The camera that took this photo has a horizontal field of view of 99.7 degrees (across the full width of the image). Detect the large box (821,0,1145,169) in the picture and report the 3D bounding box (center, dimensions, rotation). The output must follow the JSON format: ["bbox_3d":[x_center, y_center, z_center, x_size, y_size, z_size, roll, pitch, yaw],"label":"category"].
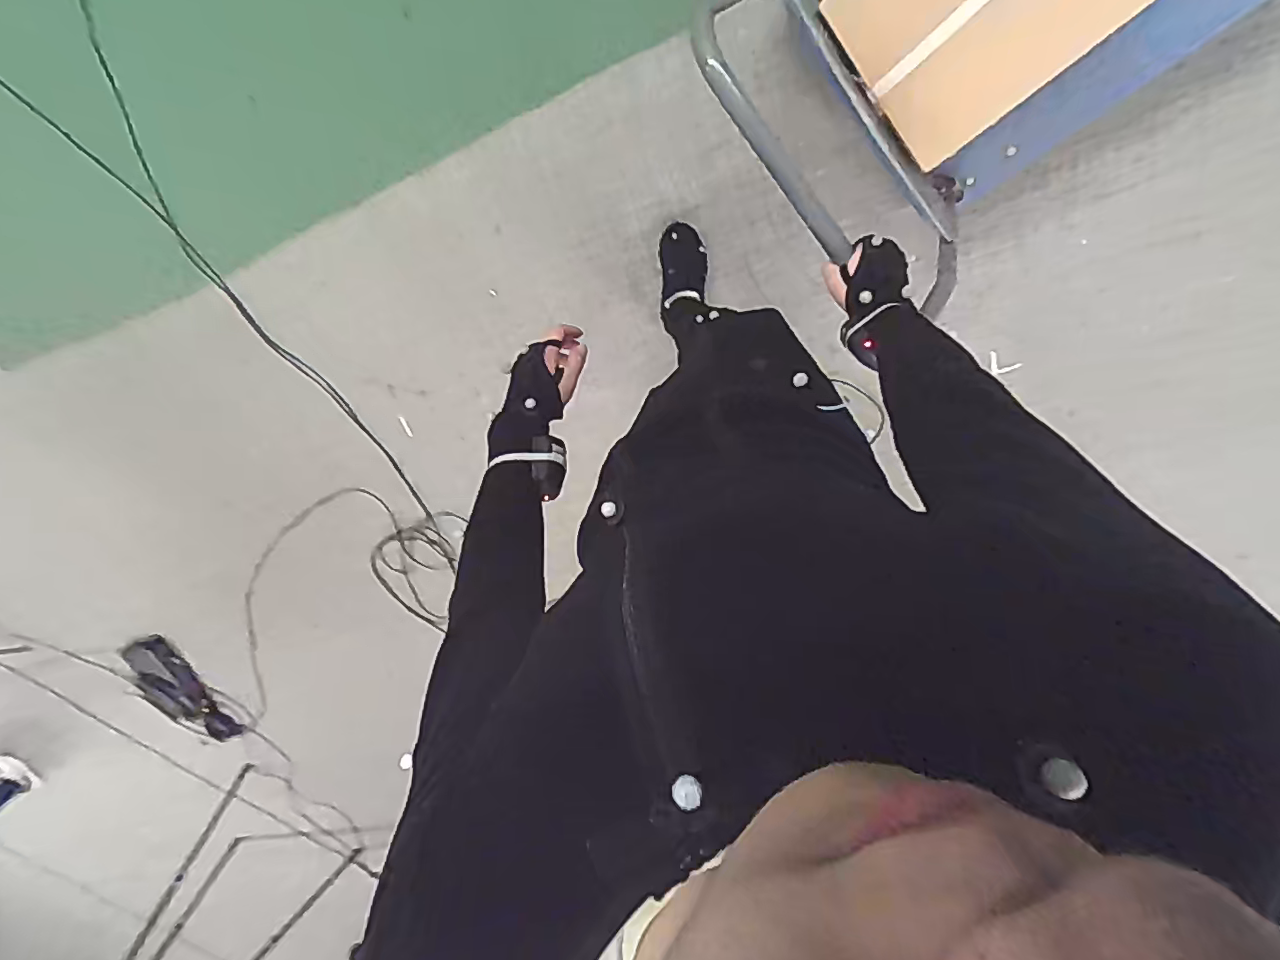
[{"bbox_3d":[0.561,-0.794,0.864,0.320,0.320,0.408,47,130,-14],"label":"large box"}]
